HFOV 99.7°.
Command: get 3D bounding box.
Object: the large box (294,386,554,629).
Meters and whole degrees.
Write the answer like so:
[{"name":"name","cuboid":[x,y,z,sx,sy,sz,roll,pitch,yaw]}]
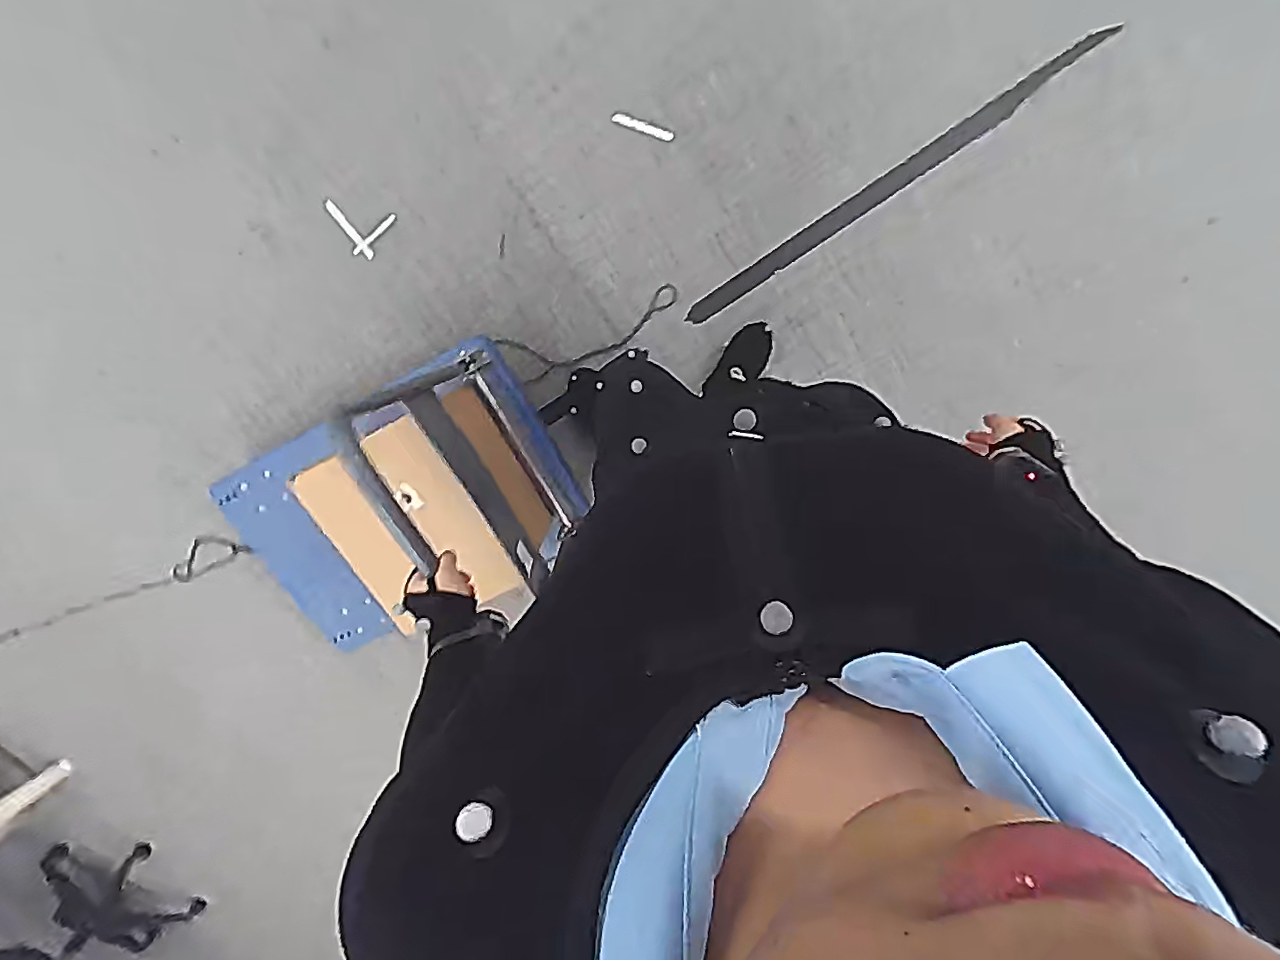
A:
[{"name":"large box","cuboid":[-0.451,0.050,1.233,0.320,0.320,0.408,-26,106,11]}]
